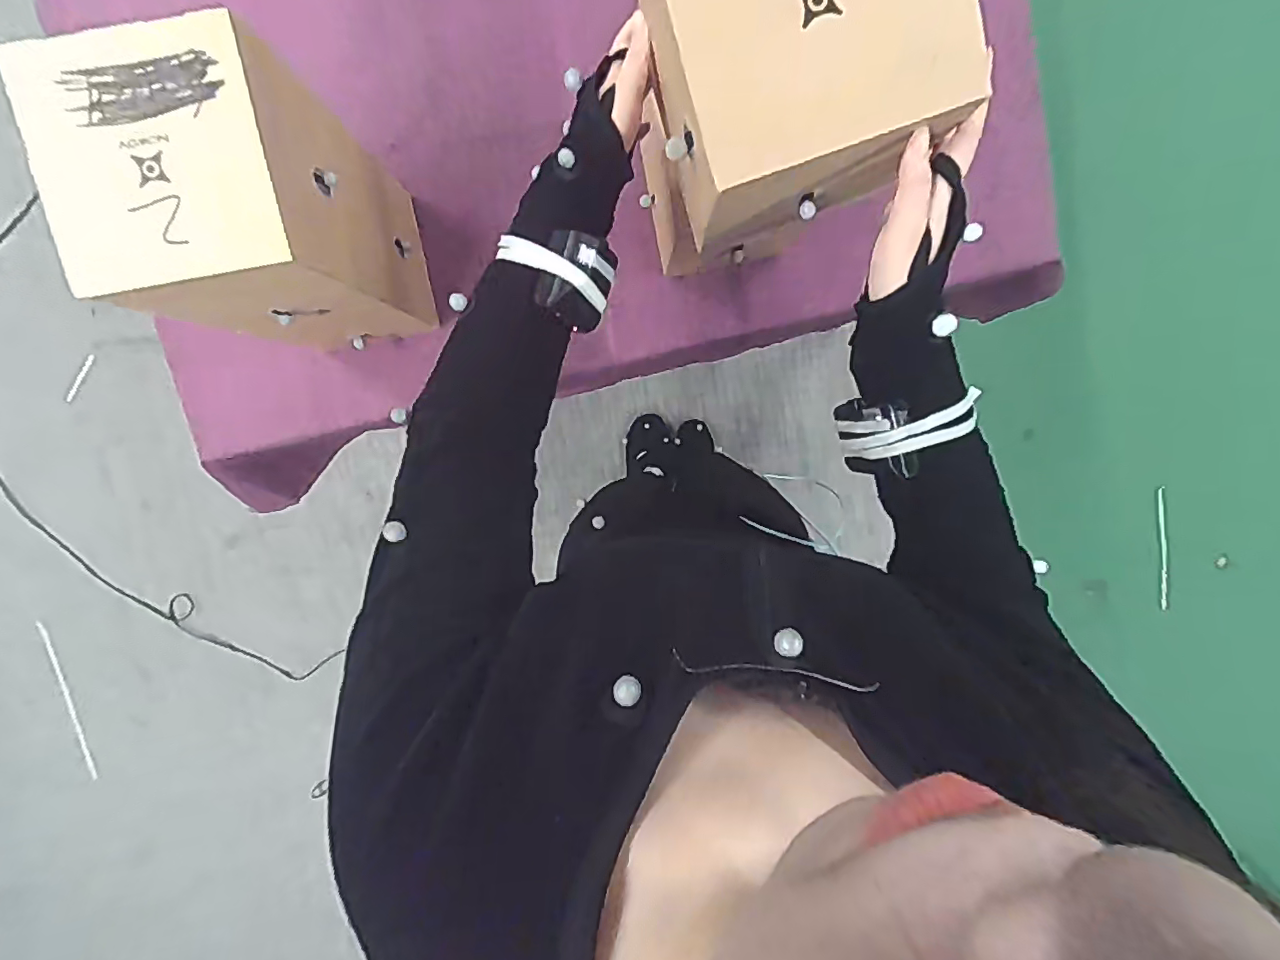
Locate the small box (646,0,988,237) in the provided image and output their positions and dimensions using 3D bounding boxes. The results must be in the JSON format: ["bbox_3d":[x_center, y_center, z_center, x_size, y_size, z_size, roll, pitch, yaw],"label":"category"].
[{"bbox_3d":[0.105,-0.293,0.386,0.168,0.176,0.179,-16,100,5],"label":"small box"}]

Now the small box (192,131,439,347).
[{"bbox_3d":[-0.356,-0.263,0.631,0.168,0.176,0.179,-11,99,0],"label":"small box"}]

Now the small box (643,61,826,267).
[{"bbox_3d":[0.100,-0.362,0.632,0.168,0.176,0.179,-12,99,0],"label":"small box"}]
